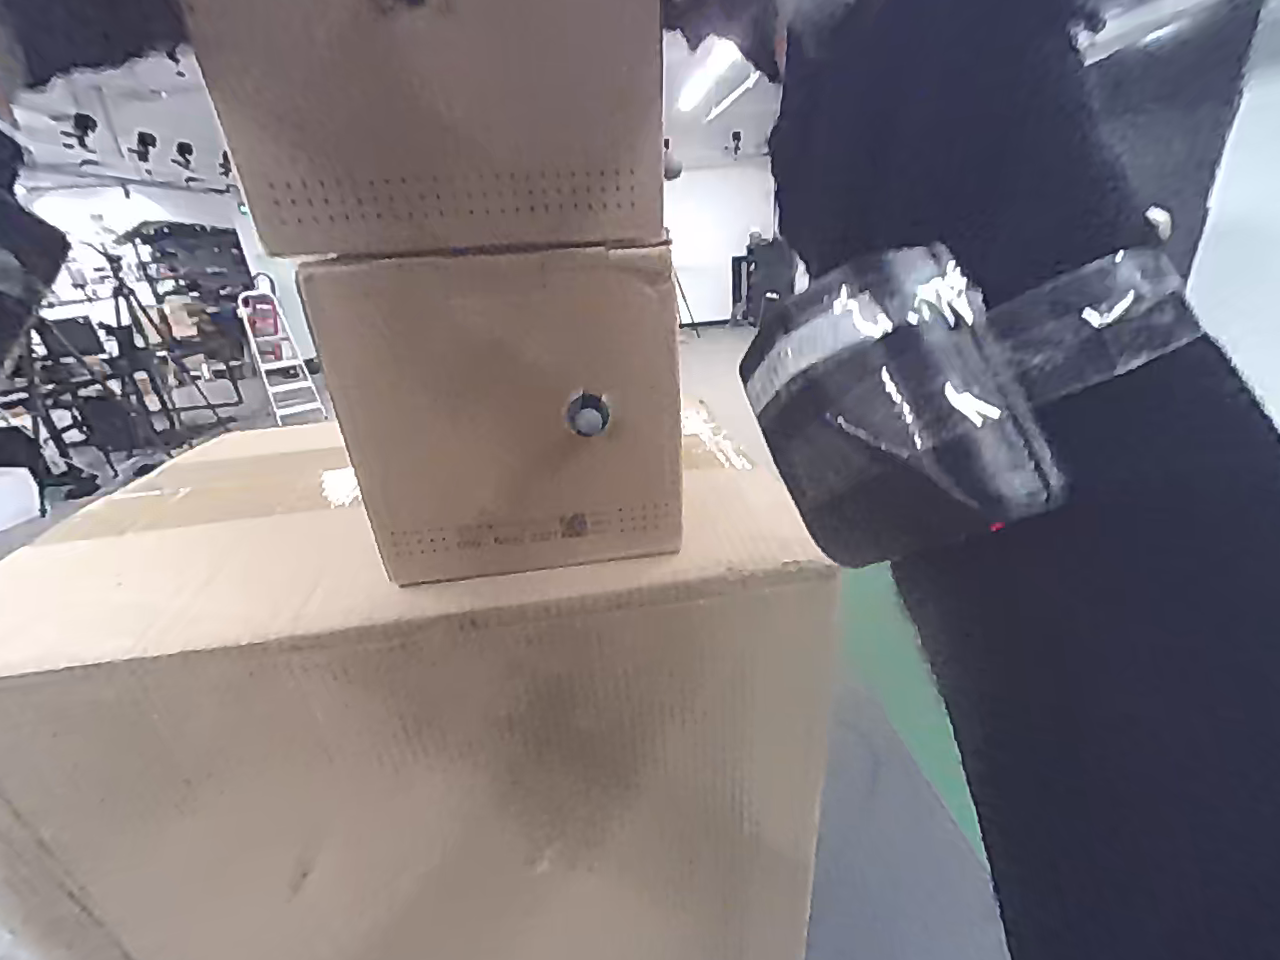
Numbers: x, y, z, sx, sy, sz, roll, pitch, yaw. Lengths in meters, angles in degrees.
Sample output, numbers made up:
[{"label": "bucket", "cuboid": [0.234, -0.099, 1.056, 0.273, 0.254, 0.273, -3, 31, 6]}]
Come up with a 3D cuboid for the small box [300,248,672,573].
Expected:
[{"label": "small box", "cuboid": [-0.073, -0.052, 0.349, 0.168, 0.176, 0.179, -5, 25, -5]}]

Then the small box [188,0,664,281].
[{"label": "small box", "cuboid": [-0.088, -0.202, 0.273, 0.179, 0.176, 0.168, -6, 30, -10]}]
